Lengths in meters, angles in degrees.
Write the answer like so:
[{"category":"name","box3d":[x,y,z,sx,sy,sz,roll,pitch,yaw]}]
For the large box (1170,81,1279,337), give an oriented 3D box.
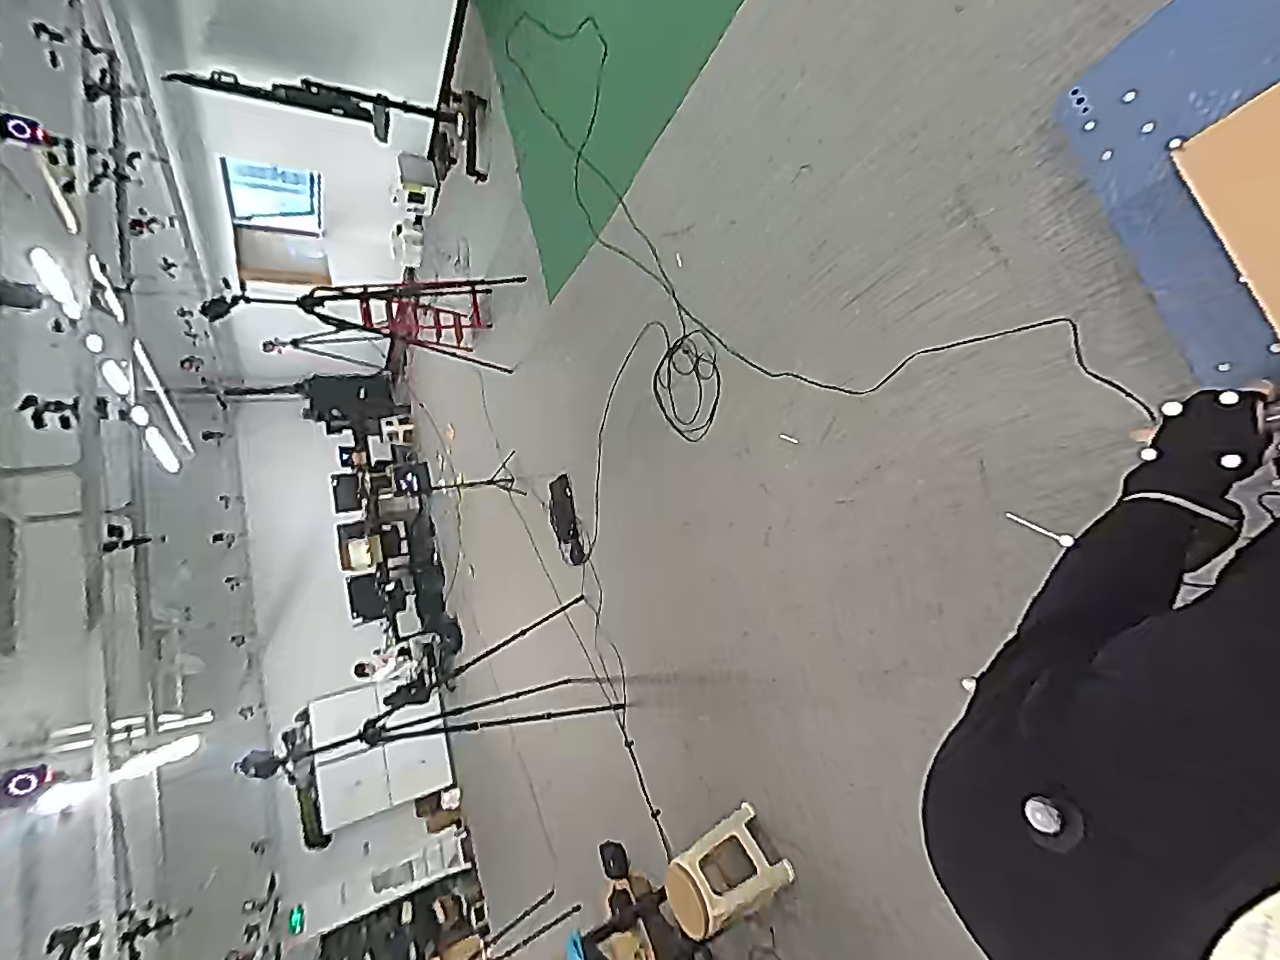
[{"category":"large box","box3d":[1.097,-0.402,0.774,0.320,0.320,0.408,-34,67,54]}]
